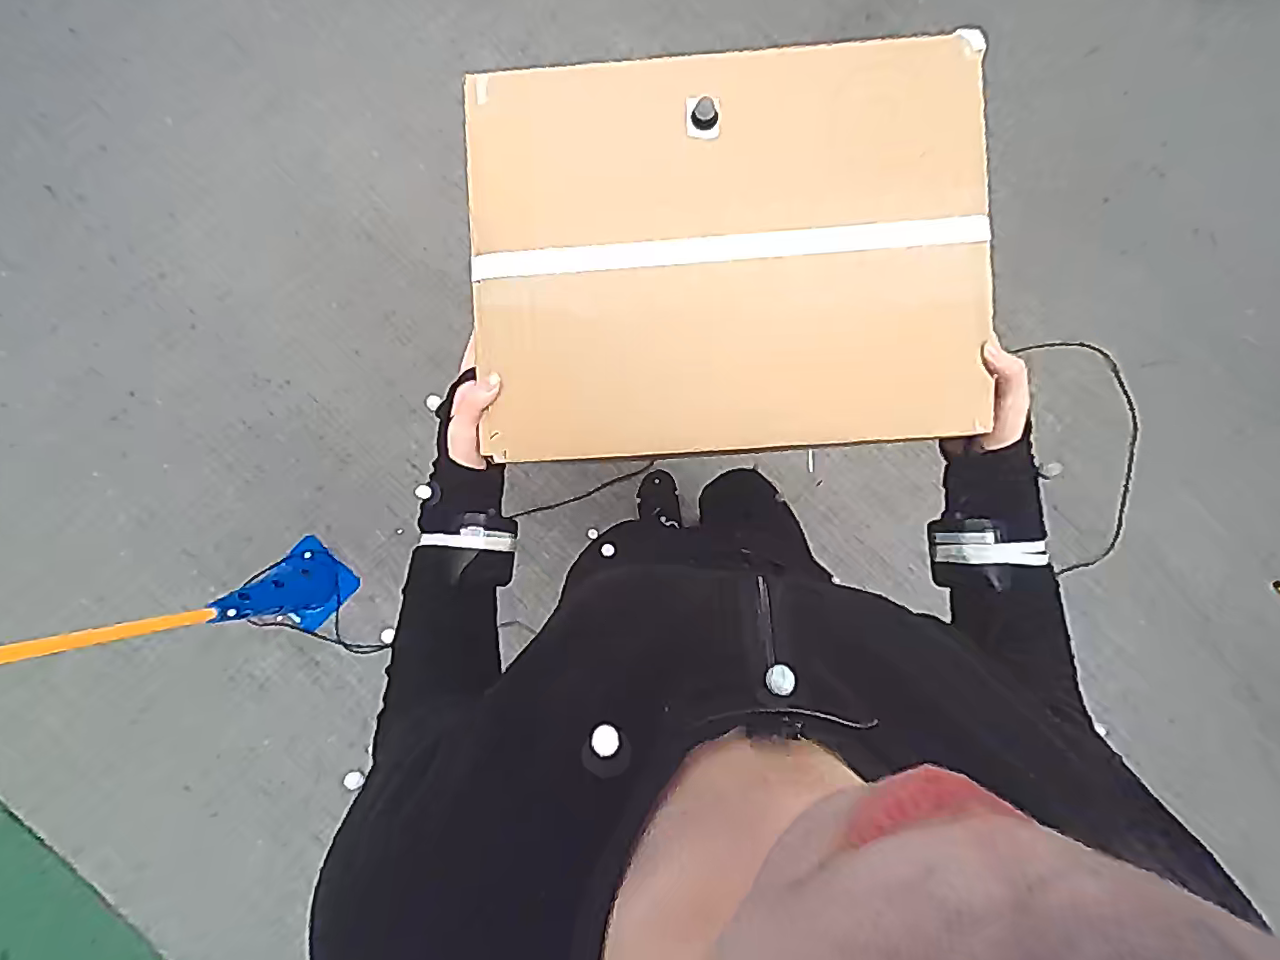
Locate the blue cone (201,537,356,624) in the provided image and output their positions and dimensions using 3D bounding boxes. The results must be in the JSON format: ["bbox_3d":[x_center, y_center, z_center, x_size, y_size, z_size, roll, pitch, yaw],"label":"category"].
[{"bbox_3d":[-0.878,0.266,1.276,0.193,0.380,0.192,42,88,0],"label":"blue cone"}]
